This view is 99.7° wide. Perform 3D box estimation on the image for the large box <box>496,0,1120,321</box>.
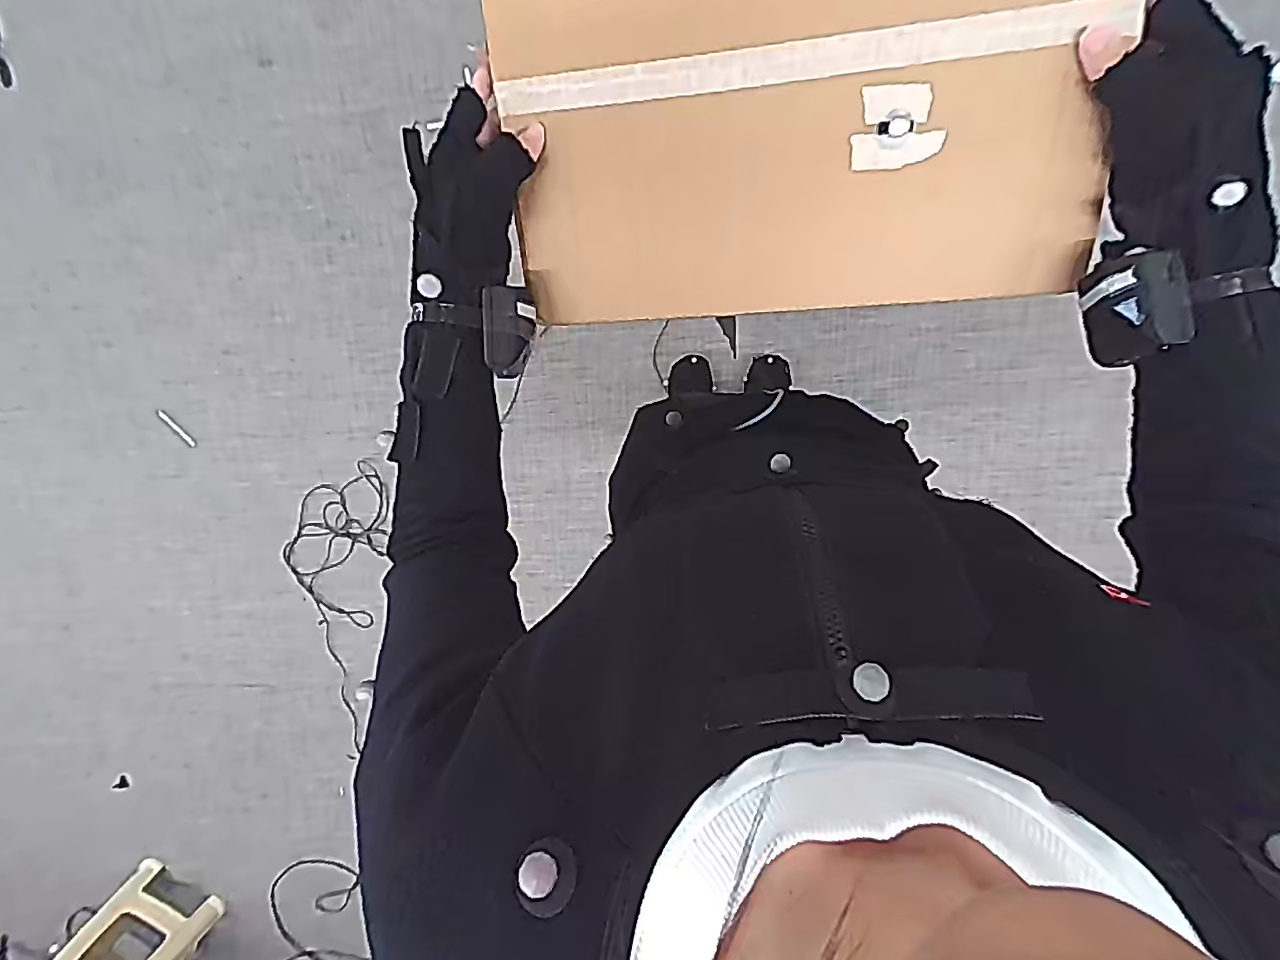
[{"bbox_3d":[0.118,-0.337,0.503,0.408,0.320,0.320,-2,113,8],"label":"large box"}]
